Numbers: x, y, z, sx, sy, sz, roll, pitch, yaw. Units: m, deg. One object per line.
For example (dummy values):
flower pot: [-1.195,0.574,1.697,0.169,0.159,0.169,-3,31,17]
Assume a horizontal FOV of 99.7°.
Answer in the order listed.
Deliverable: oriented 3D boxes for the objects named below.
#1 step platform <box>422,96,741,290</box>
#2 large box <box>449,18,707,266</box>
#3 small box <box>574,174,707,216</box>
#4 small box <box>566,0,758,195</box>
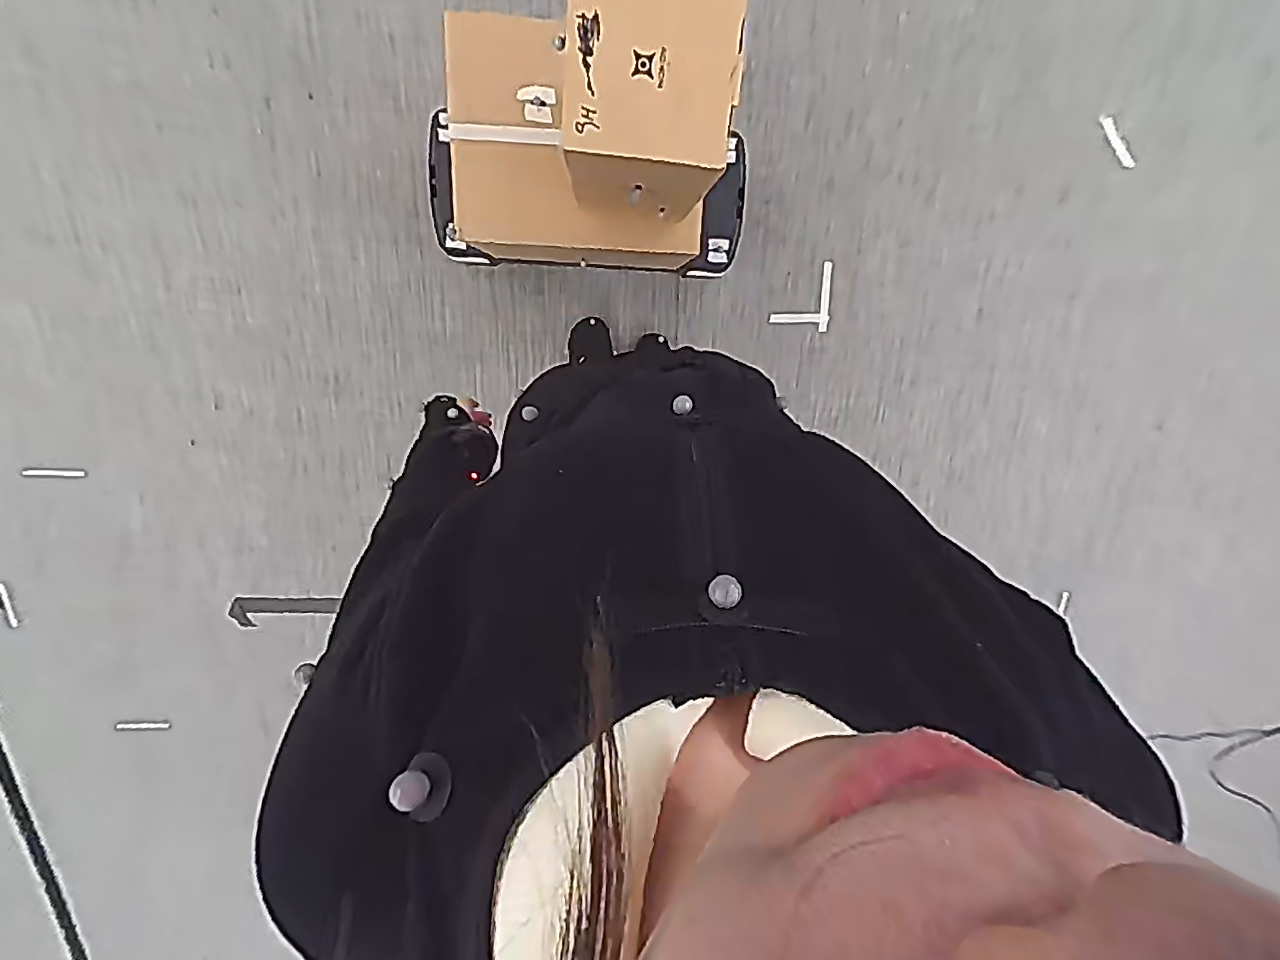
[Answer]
step platform: [-0.122,-0.623,1.214,0.684,0.204,0.286,7,106,-4]
large box: [-0.092,-0.569,0.983,0.408,0.320,0.320,2,106,-3]
small box: [0.006,-0.480,0.759,0.179,0.176,0.168,6,106,-4]
small box: [0.014,-0.432,0.603,0.179,0.176,0.168,5,106,-6]
